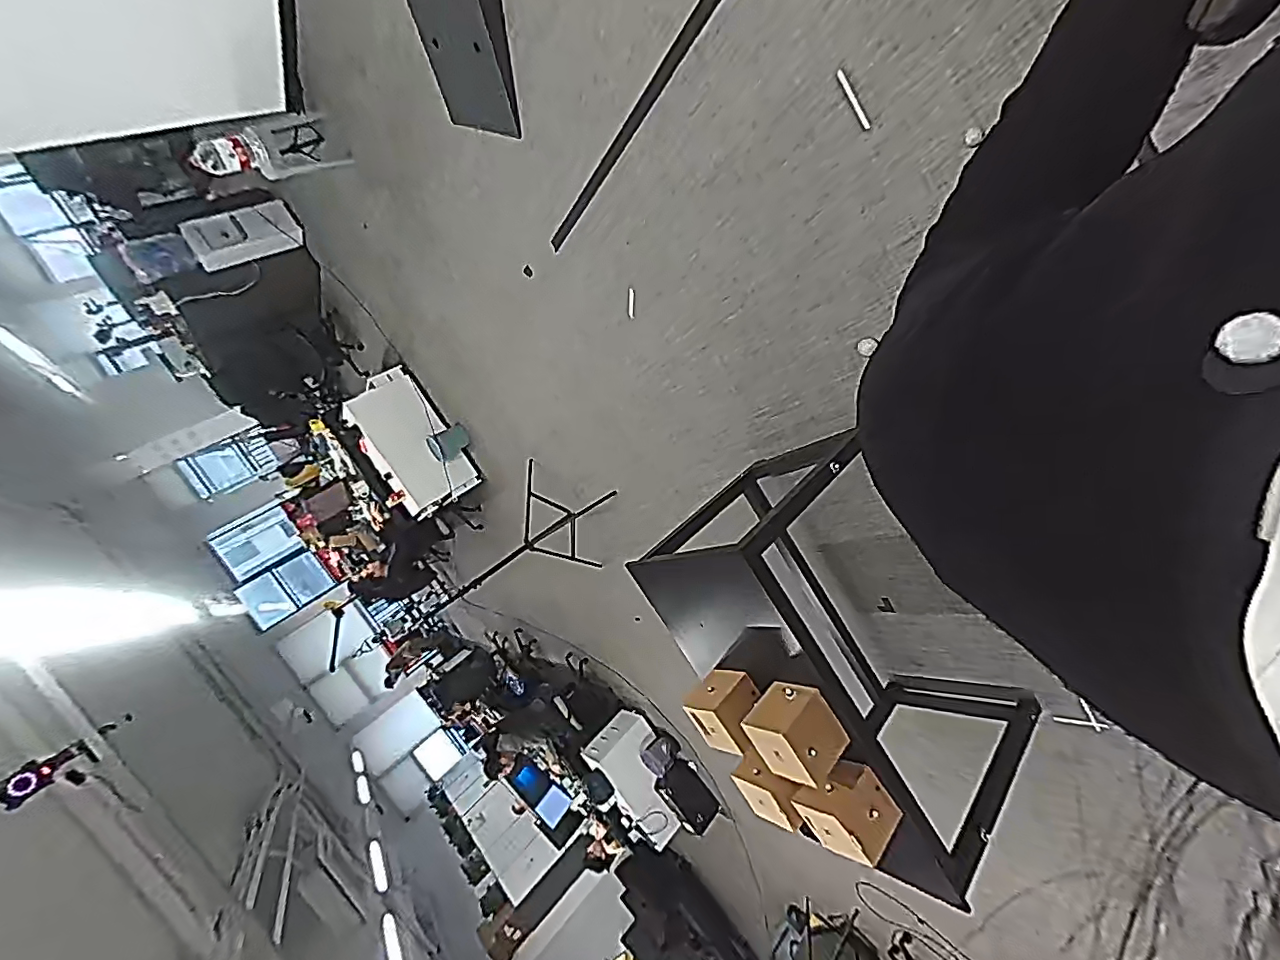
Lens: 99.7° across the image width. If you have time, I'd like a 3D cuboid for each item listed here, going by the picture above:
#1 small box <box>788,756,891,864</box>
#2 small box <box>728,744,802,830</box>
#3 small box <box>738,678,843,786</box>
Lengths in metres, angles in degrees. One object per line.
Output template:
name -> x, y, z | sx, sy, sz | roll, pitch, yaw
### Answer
small box -> 0.543, 0.872, 1.453 | 0.168, 0.176, 0.179 | 54, 149, -1
small box -> 0.417, 0.932, 1.685 | 0.168, 0.176, 0.179 | 58, 148, -8
small box -> 0.401, 0.658, 1.433 | 0.179, 0.176, 0.168 | 57, 148, -5
